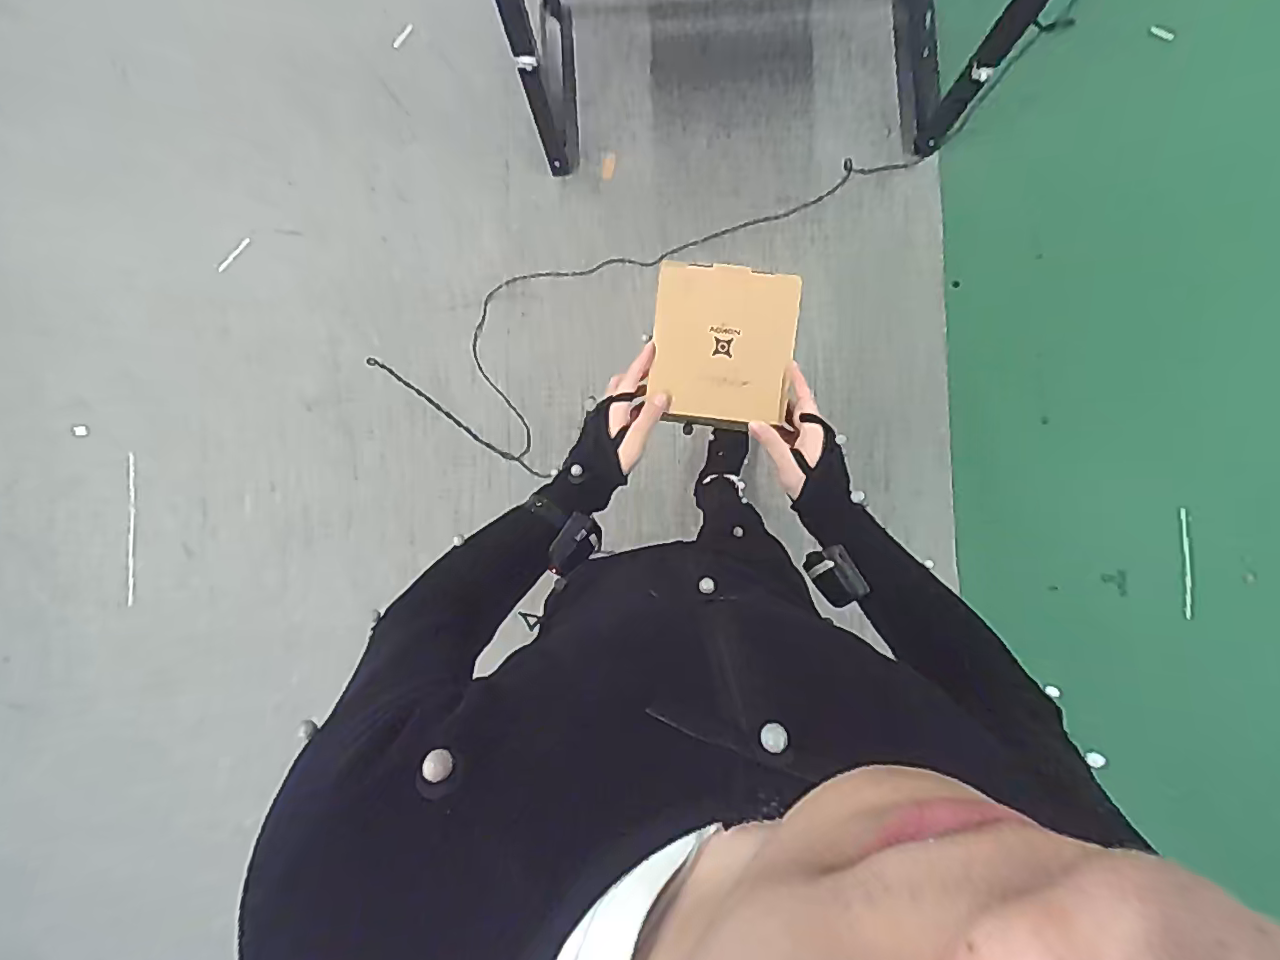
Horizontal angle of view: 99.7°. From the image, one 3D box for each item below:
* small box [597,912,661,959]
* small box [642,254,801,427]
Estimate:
[{"bbox_3d":[-0.033,1.295,1.434,0.168,0.176,0.179,2,87,1],"label":"small box"},{"bbox_3d":[0.093,-0.167,0.702,0.168,0.176,0.179,7,93,0],"label":"small box"}]
